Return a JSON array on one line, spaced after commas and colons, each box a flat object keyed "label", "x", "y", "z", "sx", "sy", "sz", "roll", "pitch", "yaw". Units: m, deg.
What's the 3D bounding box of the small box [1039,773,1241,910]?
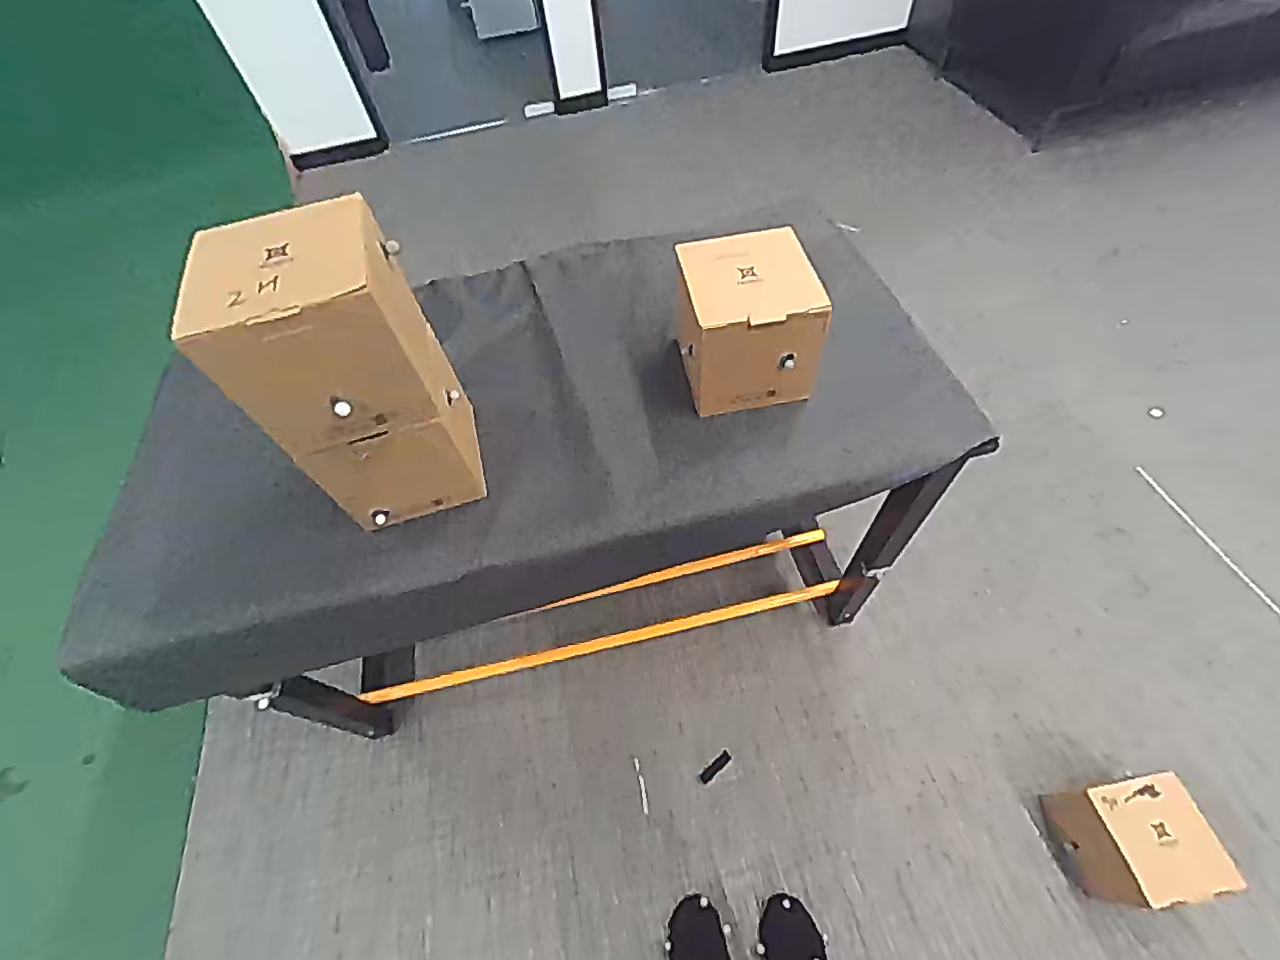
[{"label": "small box", "x": 0.891, "y": 0.650, "z": 0.987, "sx": 0.168, "sy": 0.176, "sz": 0.179, "roll": -11, "pitch": 57, "yaw": -2}]

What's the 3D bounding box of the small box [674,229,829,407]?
[{"label": "small box", "x": 0.145, "y": -0.219, "z": 0.763, "sx": 0.168, "sy": 0.176, "sz": 0.179, "roll": -9, "pitch": 55, "yaw": -2}]

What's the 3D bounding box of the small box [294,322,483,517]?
[{"label": "small box", "x": -0.315, "y": -0.069, "z": 0.706, "sx": 0.168, "sy": 0.176, "sz": 0.179, "roll": -16, "pitch": 56, "yaw": -6}]

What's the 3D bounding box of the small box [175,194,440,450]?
[{"label": "small box", "x": -0.329, "y": -0.162, "z": 0.571, "sx": 0.168, "sy": 0.176, "sz": 0.179, "roll": -18, "pitch": 57, "yaw": -6}]
